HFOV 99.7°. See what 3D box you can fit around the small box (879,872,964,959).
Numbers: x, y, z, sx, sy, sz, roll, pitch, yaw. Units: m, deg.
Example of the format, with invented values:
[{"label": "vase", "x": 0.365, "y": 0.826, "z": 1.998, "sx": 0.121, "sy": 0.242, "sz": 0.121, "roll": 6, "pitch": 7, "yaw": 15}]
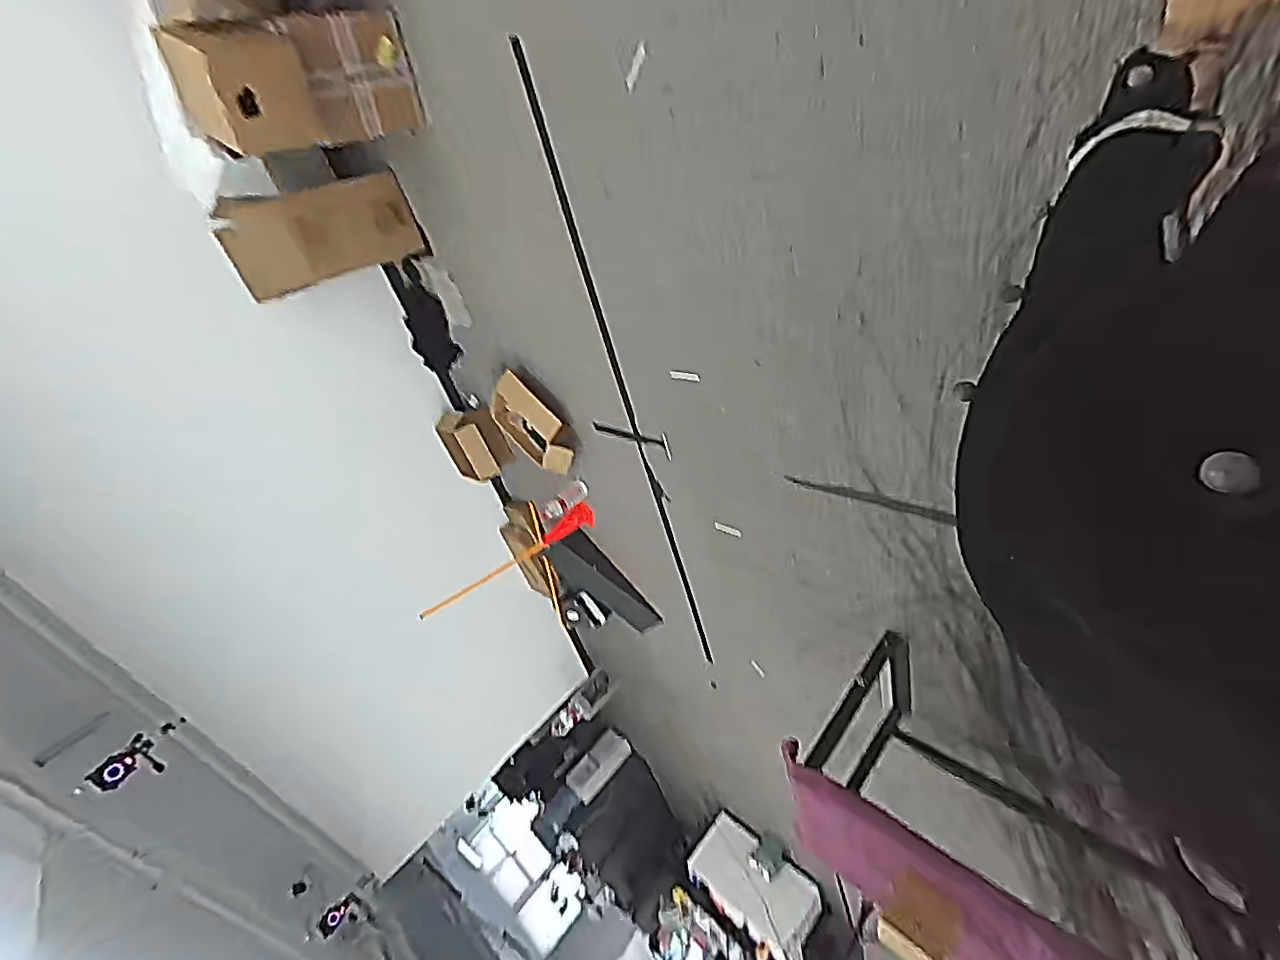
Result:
[{"label": "small box", "x": 0.828, "y": 1.313, "z": 1.591, "sx": 0.179, "sy": 0.176, "sz": 0.168, "roll": 21, "pitch": 137, "yaw": 42}]
